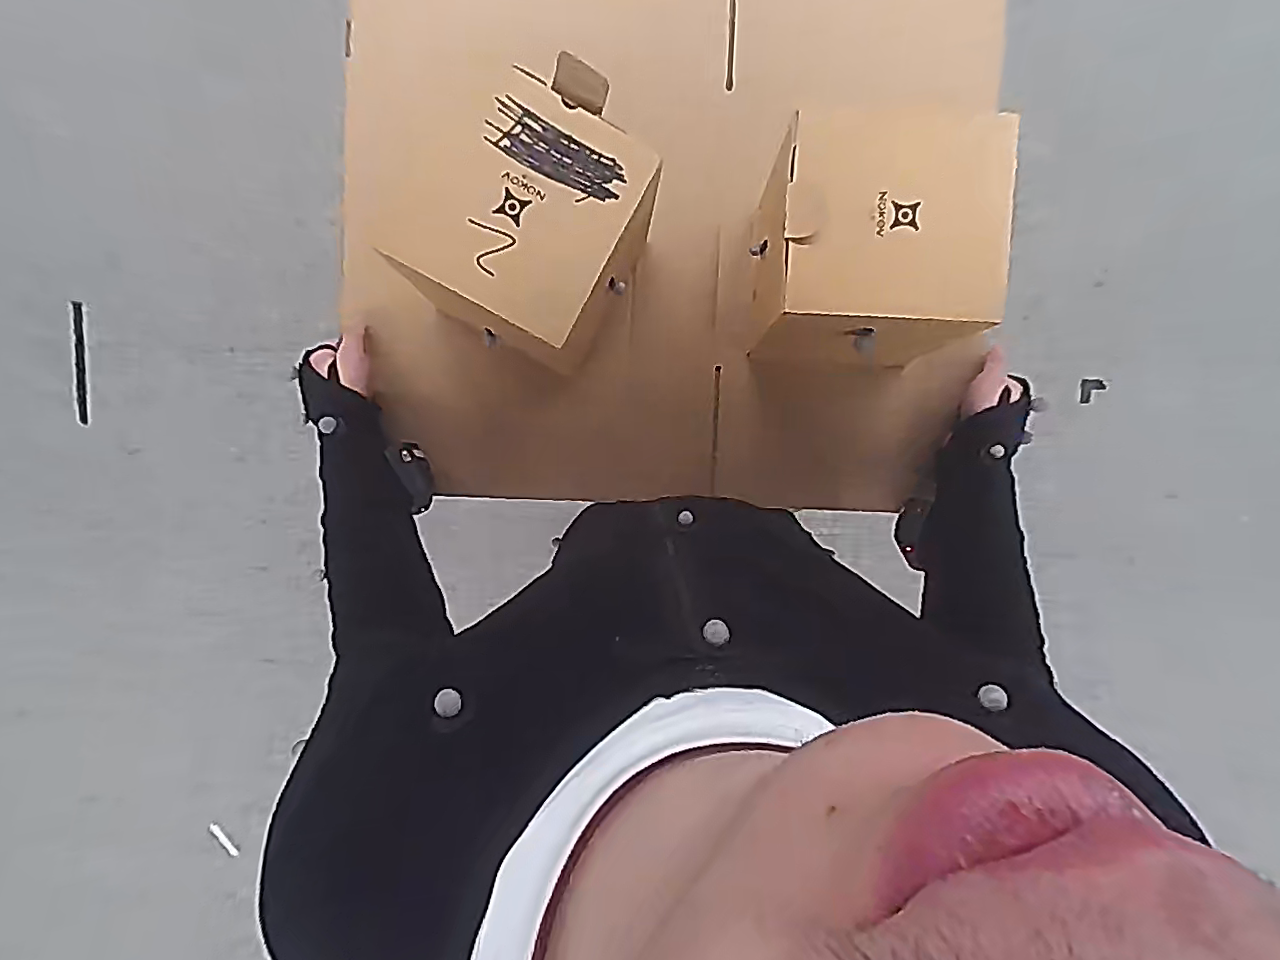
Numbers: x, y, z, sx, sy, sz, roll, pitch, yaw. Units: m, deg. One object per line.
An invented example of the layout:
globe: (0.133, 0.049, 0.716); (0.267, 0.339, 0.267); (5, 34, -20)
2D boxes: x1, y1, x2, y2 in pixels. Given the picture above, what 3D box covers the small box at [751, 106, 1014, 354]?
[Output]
small box: (0.213, -0.221, 0.522); (0.179, 0.176, 0.168); (3, 92, 2)
